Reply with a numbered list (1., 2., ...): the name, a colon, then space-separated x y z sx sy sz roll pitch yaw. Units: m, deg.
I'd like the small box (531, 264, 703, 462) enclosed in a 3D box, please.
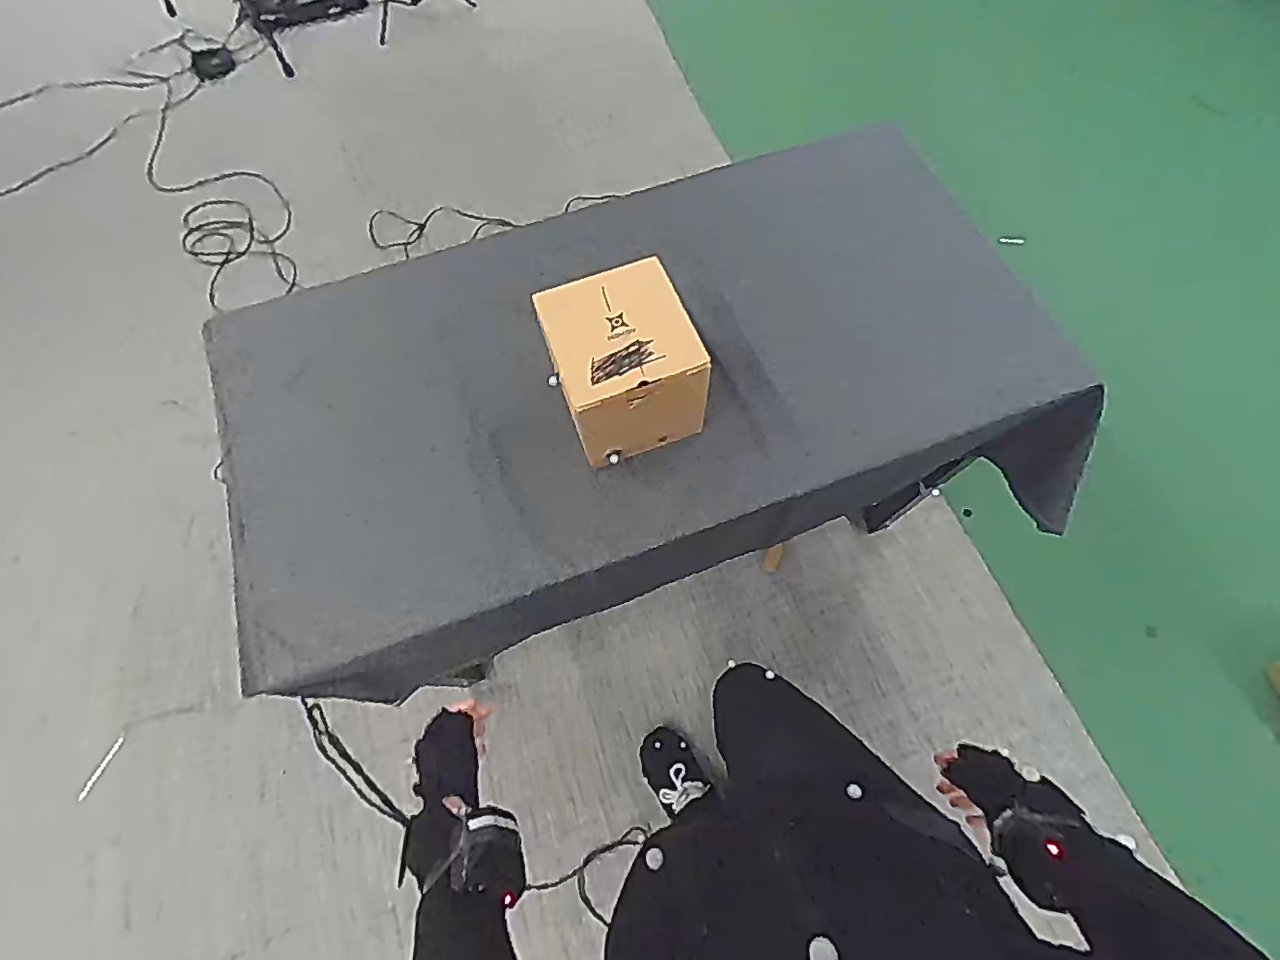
1. small box: -0.026 -0.141 0.716 0.168 0.176 0.179 -20 68 -6
